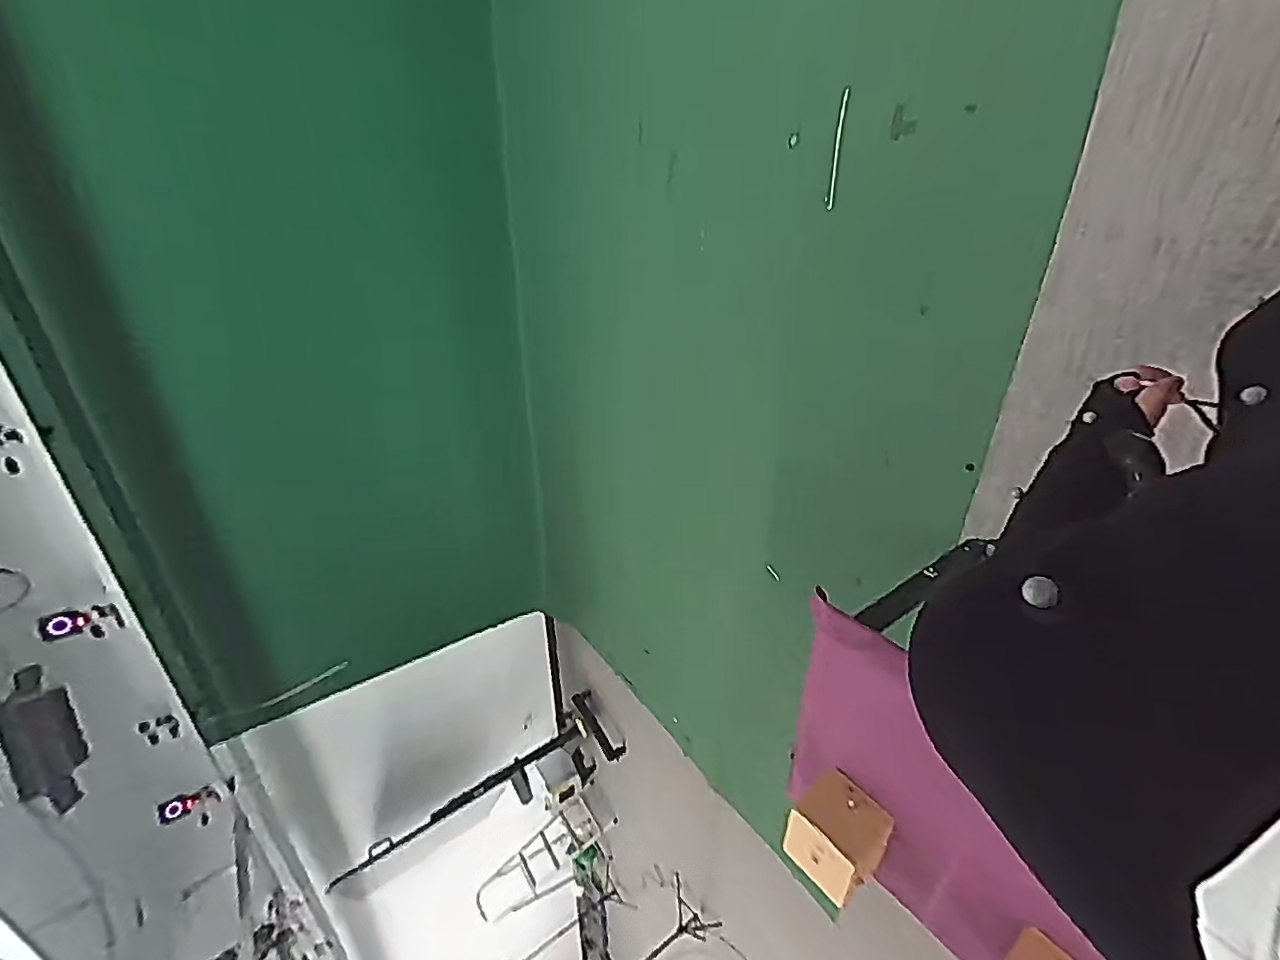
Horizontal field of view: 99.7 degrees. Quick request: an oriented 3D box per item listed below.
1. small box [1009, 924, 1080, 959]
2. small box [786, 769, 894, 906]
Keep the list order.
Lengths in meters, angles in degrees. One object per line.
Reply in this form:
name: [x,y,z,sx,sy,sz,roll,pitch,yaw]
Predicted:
small box: [0.734,0.965,0.966,0.168,0.176,0.179,31,129,47]
small box: [0.474,0.839,1.283,0.168,0.176,0.179,29,128,44]
